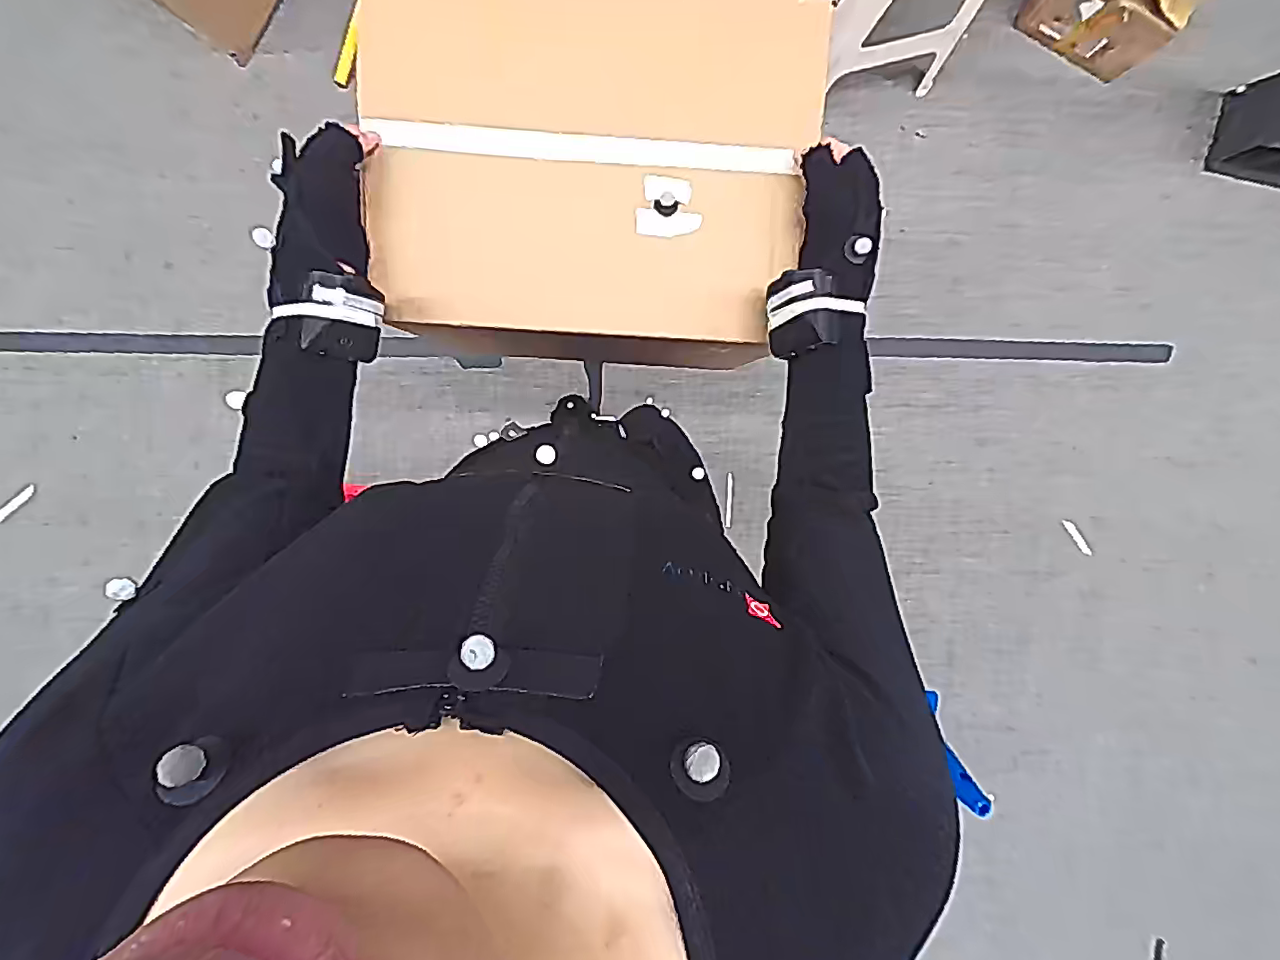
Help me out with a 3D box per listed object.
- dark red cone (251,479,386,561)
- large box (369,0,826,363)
[{"bbox_3d":[-0.763,0.122,1.257,0.201,0.394,0.202,7,96,-4],"label":"dark red cone"},{"bbox_3d":[-0.048,-0.314,0.631,0.408,0.320,0.320,3,97,-3],"label":"large box"}]
